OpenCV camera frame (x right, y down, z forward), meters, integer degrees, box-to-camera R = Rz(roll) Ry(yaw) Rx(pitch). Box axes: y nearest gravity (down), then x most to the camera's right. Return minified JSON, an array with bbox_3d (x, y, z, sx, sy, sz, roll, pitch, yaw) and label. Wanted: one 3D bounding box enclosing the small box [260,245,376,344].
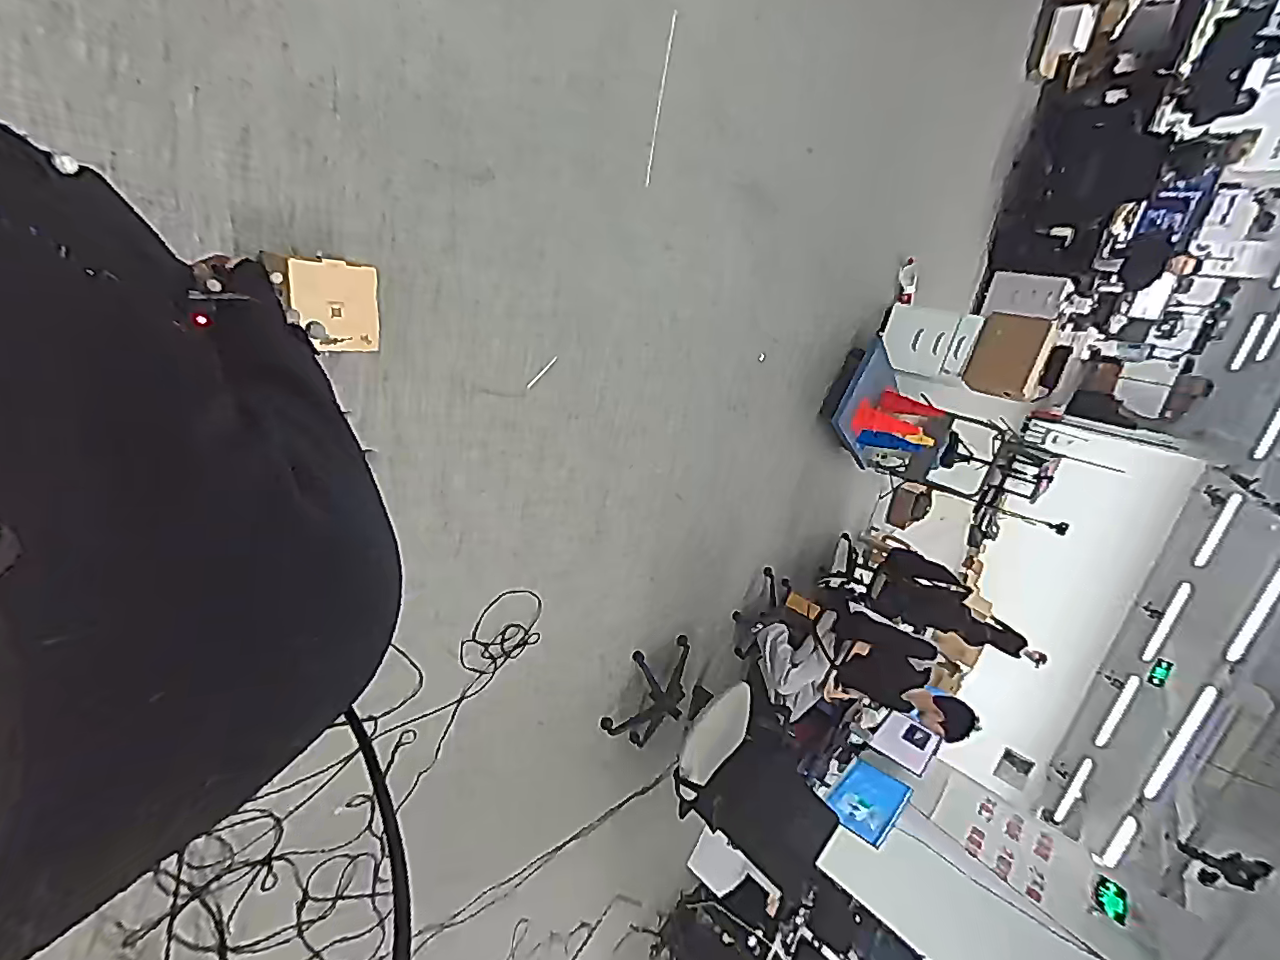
[{"bbox_3d":[-0.675,-0.388,1.135,0.168,0.176,0.179,-14,120,-46],"label":"small box"}]
